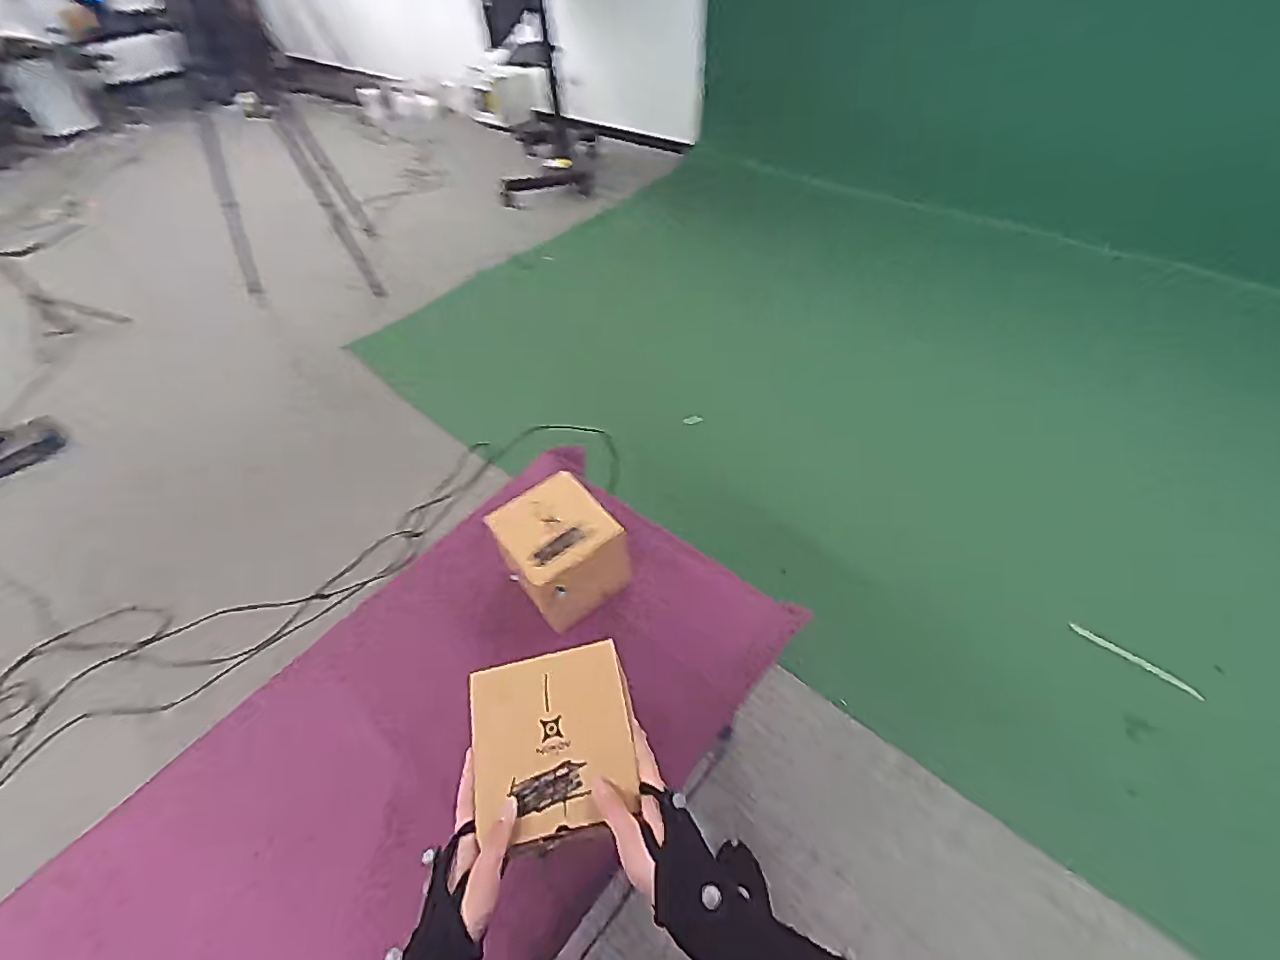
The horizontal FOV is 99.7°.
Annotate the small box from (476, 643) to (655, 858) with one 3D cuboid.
[{"bbox_3d":[-0.081,0.314,0.622,0.168,0.176,0.179,-12,54,-4],"label":"small box"}]
